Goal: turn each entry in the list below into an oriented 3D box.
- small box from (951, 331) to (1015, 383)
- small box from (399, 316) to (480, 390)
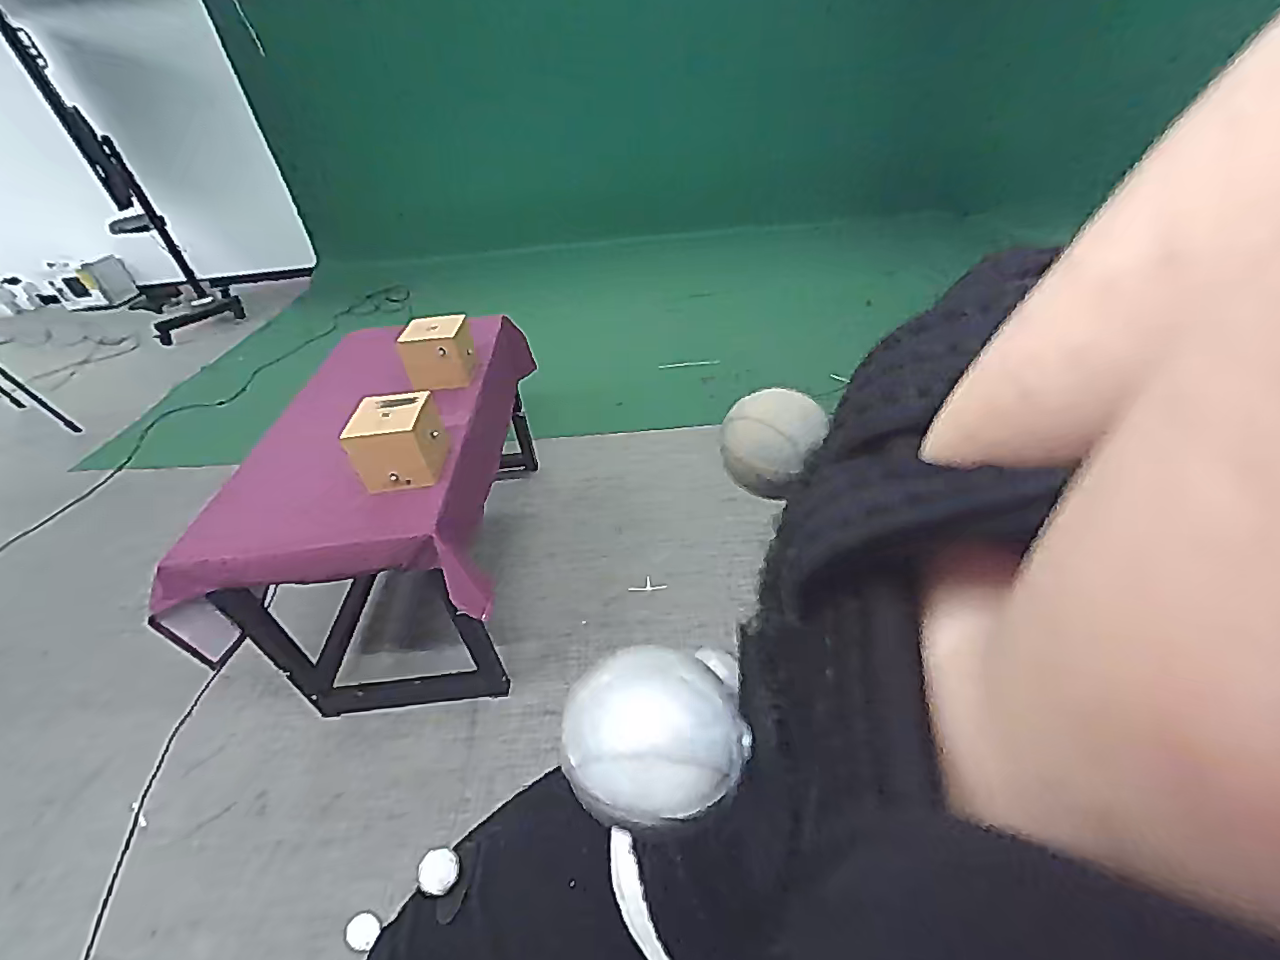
[{"bbox_3d":[1.509,-0.544,2.392,0.168,0.176,0.179,1,41,8],"label":"small box"},{"bbox_3d":[-0.617,-0.397,1.694,0.179,0.176,0.168,-5,39,3],"label":"small box"}]
